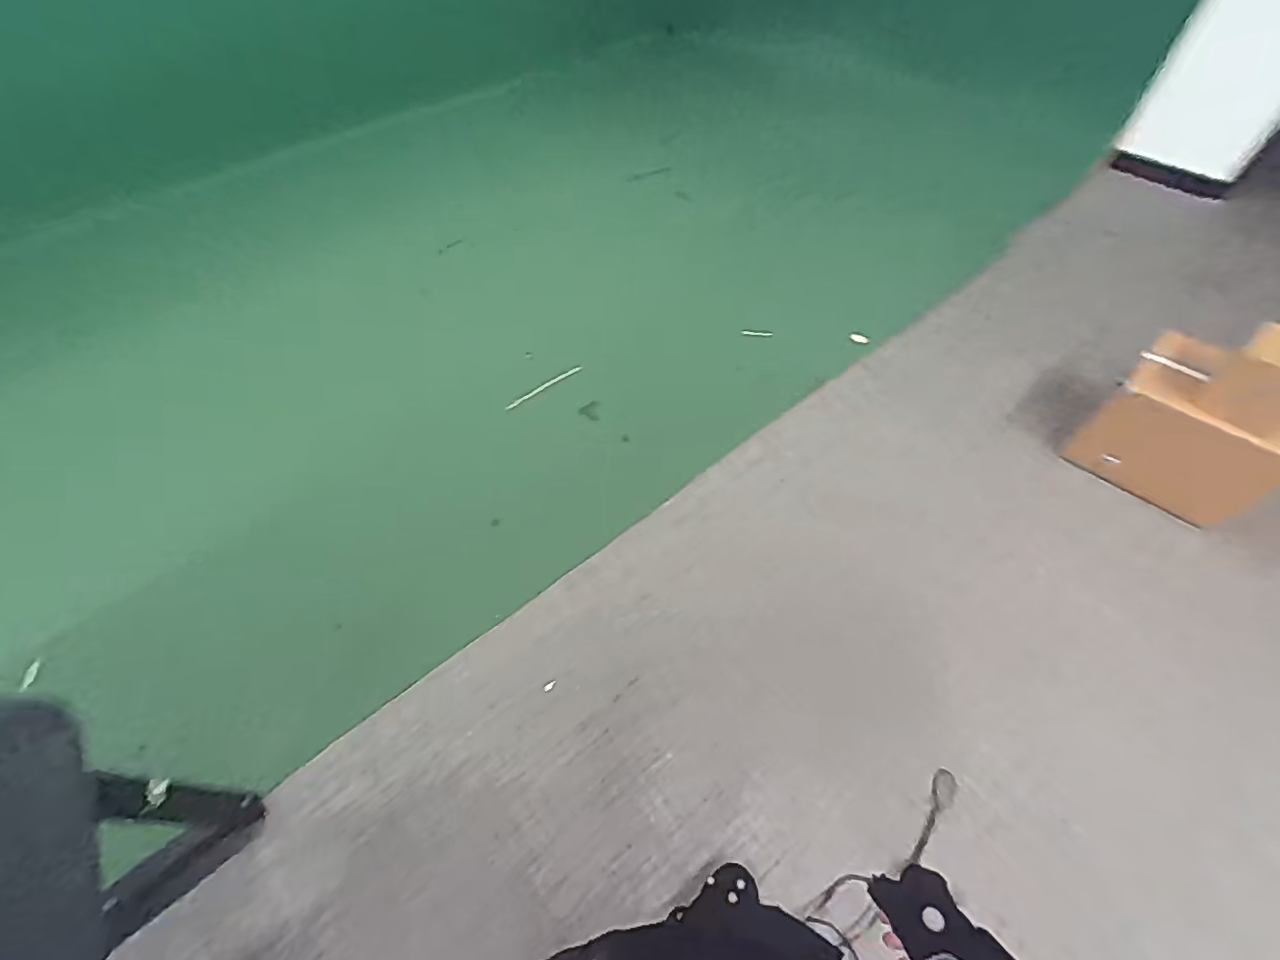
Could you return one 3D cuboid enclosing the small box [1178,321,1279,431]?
[{"bbox_3d":[1.490,-0.243,1.310,0.168,0.176,0.179,-36,60,-19],"label":"small box"}]
